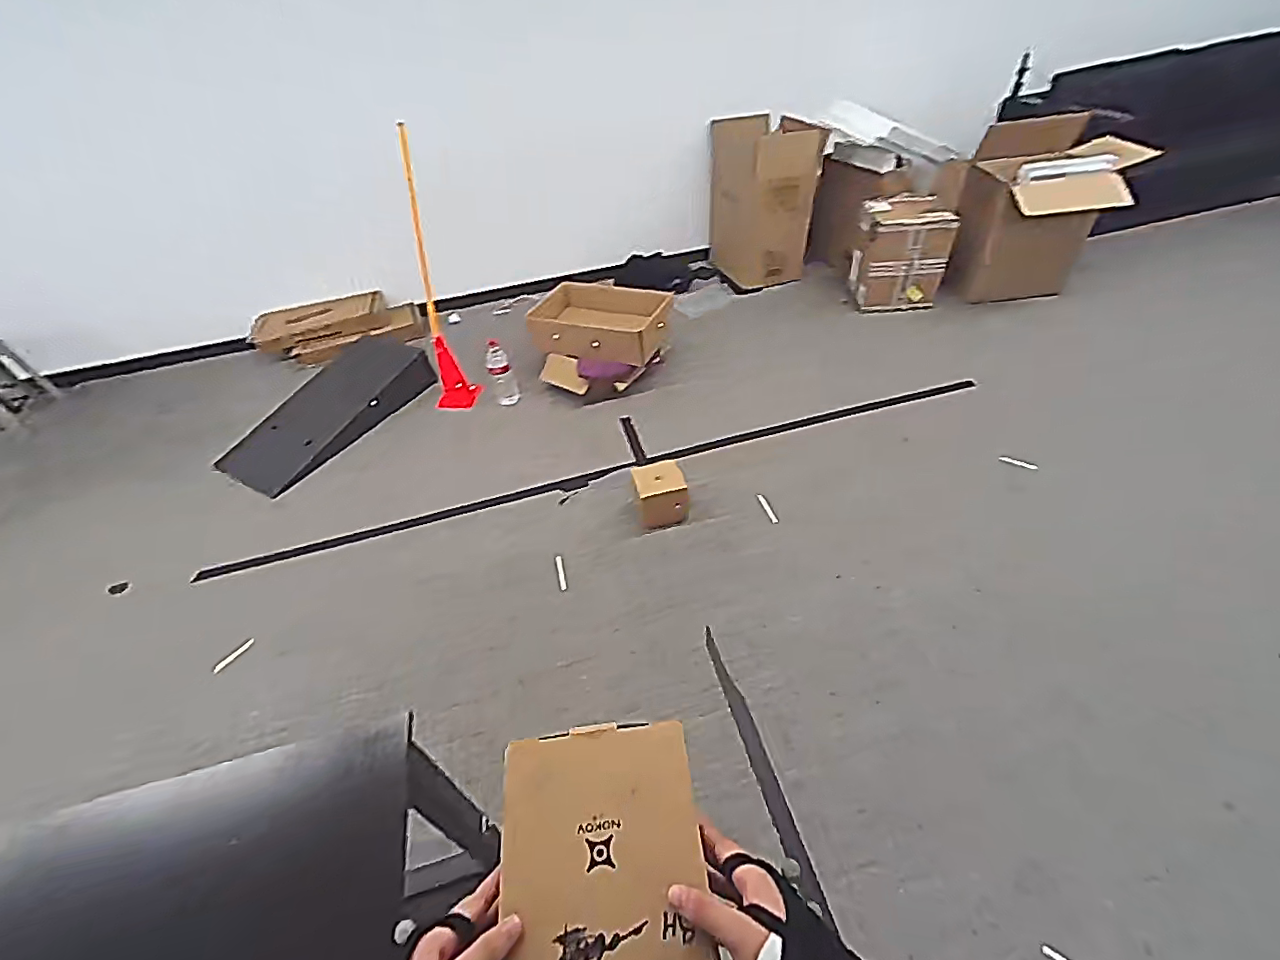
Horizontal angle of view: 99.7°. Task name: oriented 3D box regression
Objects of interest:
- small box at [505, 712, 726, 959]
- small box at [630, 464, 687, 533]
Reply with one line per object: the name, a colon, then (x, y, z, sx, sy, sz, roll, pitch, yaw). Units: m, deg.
small box: (-0.022, 0.345, 0.506, 0.168, 0.176, 0.179, -8, 47, -2)
small box: (0.071, 0.071, 2.030, 0.179, 0.176, 0.168, -15, 42, -8)
